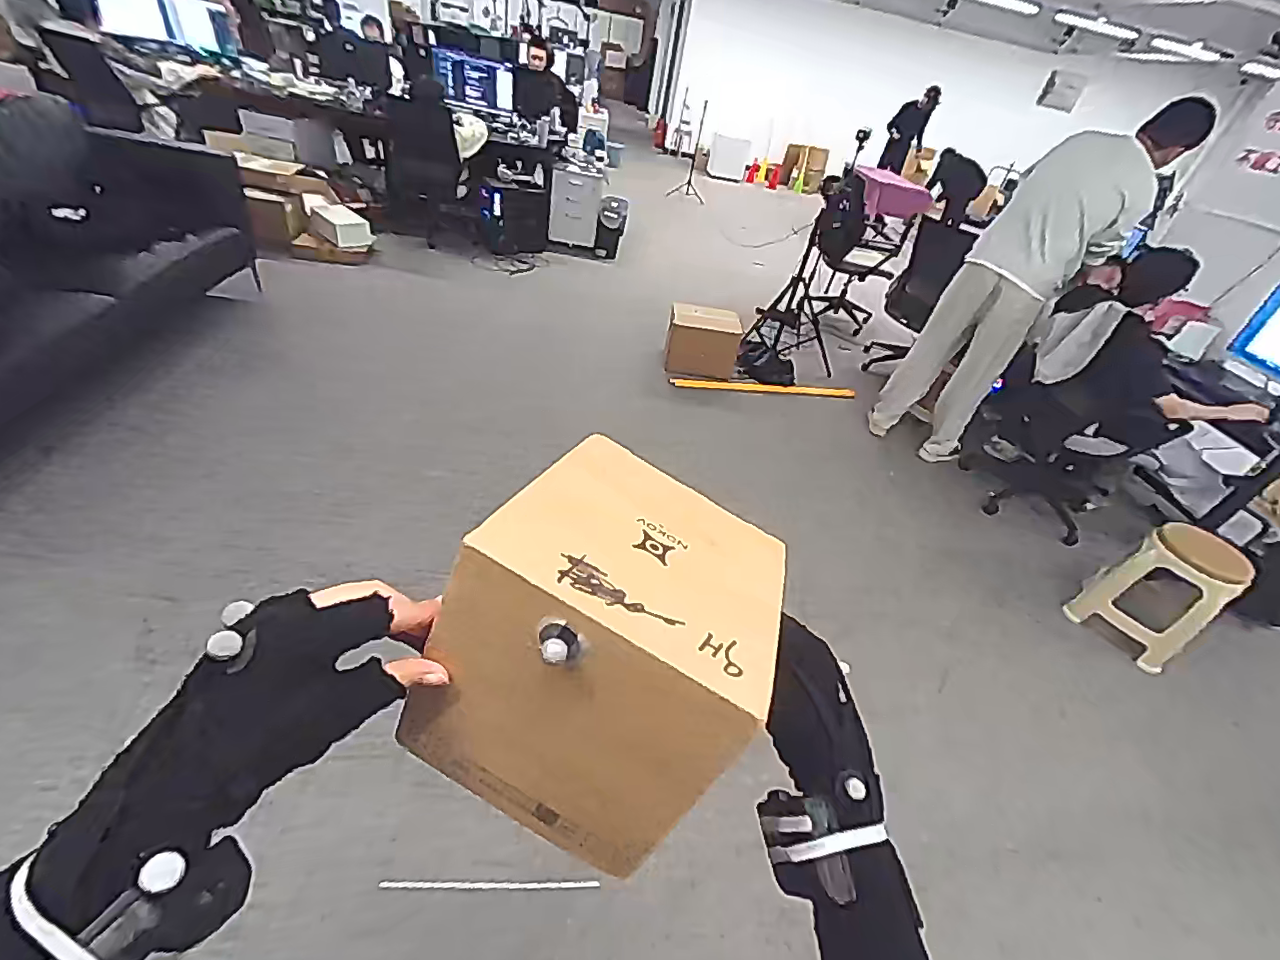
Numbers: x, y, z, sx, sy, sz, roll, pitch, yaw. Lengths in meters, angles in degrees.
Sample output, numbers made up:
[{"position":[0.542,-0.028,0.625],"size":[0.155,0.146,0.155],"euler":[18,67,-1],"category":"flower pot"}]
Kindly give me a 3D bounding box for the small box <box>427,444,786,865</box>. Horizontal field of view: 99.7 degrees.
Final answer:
[{"position":[-0.018,0.106,0.374],"size":[0.168,0.176,0.179],"euler":[30,27,5],"category":"small box"}]
